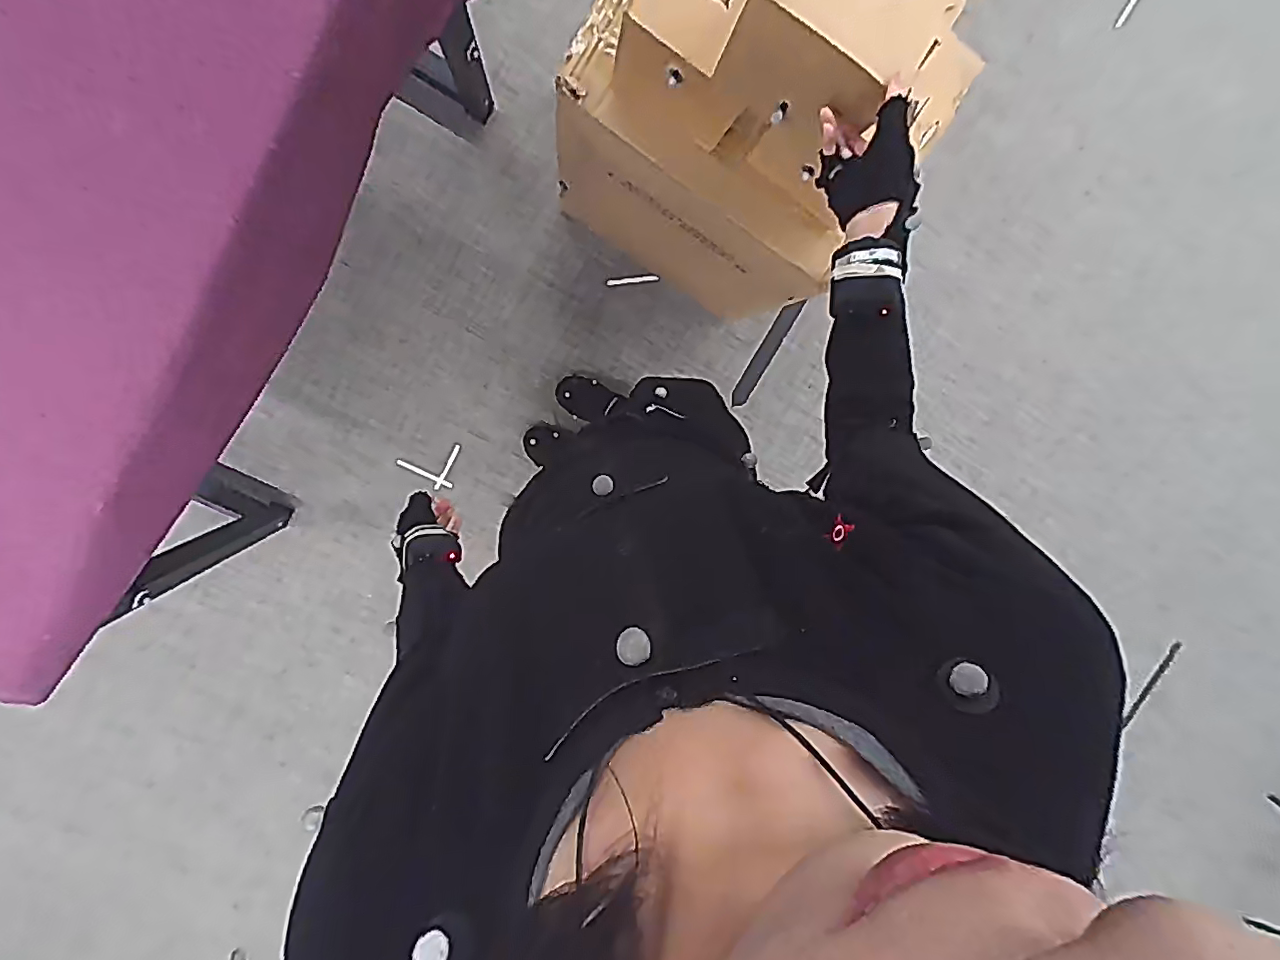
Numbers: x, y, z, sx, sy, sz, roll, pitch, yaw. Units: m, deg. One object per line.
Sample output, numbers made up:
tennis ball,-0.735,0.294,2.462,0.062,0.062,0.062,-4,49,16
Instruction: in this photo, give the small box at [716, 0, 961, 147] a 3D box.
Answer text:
small box,0.207,-0.490,0.567,0.179,0.176,0.168,28,97,-11

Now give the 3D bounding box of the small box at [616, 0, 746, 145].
small box,0.083,-0.580,0.701,0.179,0.176,0.168,28,97,-13

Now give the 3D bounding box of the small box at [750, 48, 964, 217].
small box,0.283,-0.491,0.743,0.179,0.176,0.168,32,96,-10
